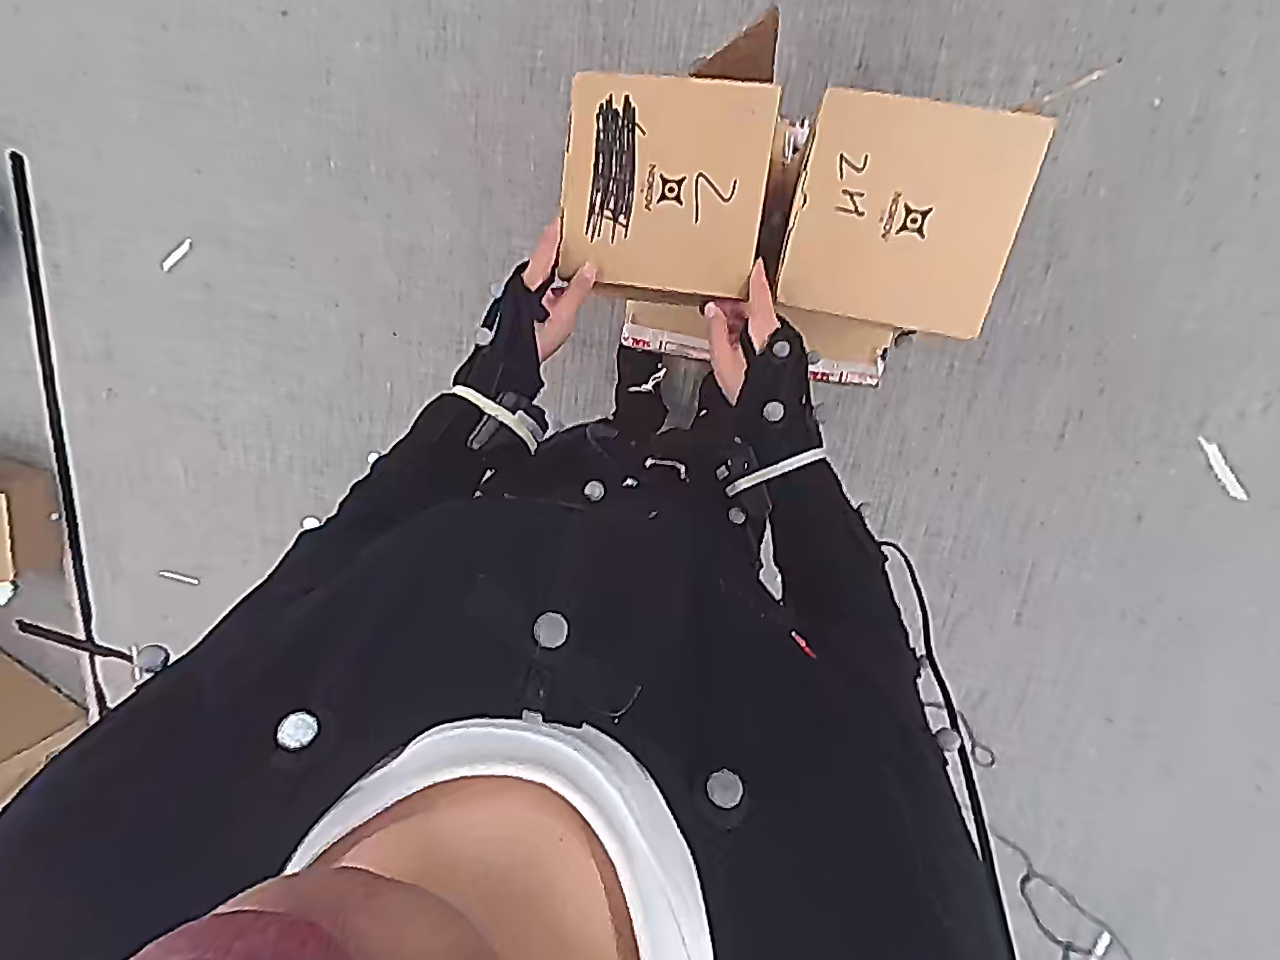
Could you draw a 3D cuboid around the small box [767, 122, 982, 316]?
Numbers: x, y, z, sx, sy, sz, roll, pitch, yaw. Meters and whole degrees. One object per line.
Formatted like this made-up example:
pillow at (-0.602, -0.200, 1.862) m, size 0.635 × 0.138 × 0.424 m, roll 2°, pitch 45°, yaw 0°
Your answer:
small box at (0.262, -0.300, 0.658) m, size 0.179 × 0.176 × 0.168 m, roll 16°, pitch 108°, yaw 5°
